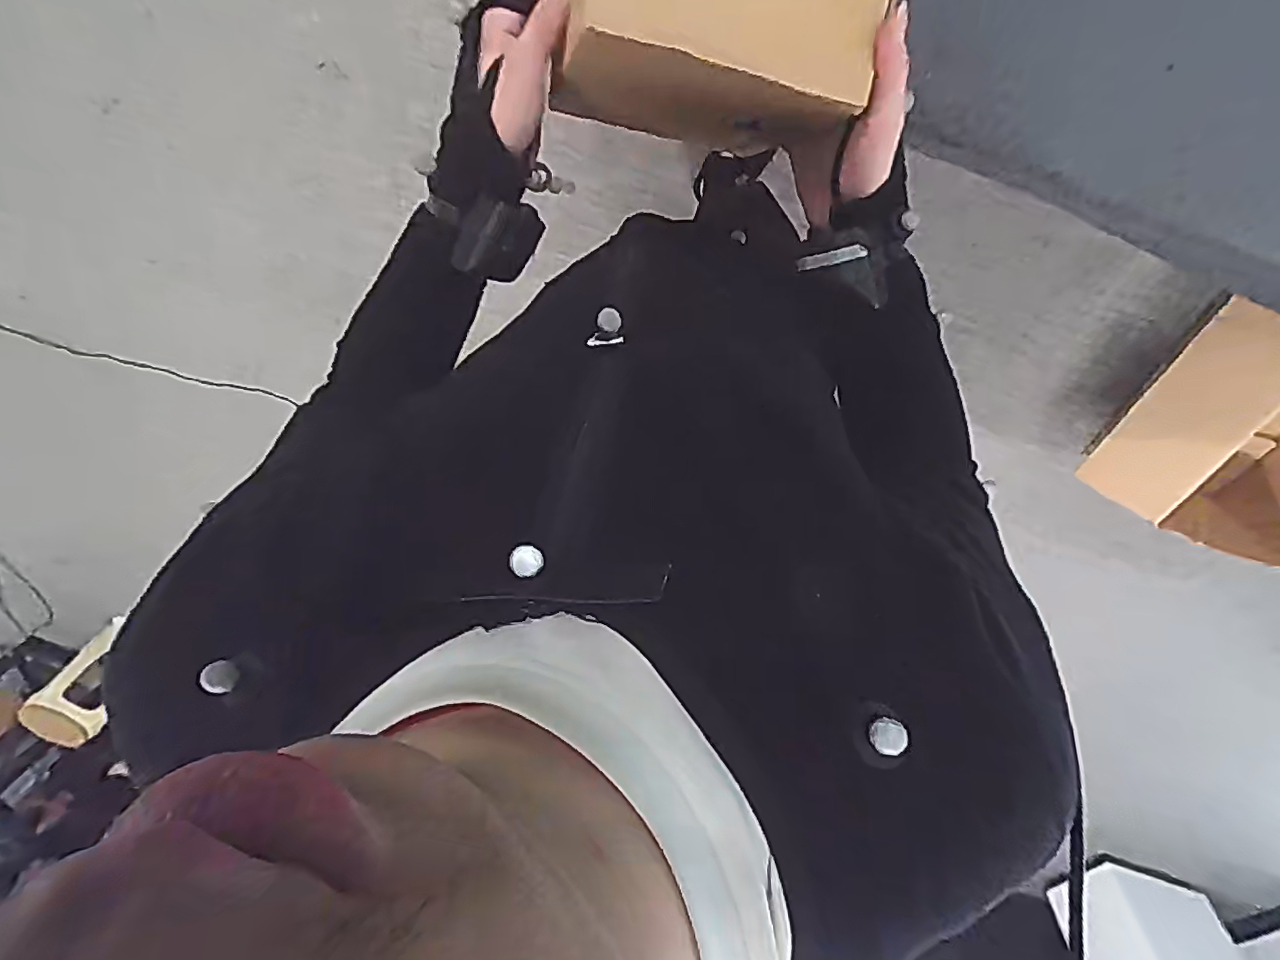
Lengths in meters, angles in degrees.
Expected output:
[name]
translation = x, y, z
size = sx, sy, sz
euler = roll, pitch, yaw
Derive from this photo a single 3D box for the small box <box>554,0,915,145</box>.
[small box]
translation = 0.050, -0.324, 0.330
size = 0.179, 0.176, 0.168
euler = 1, 110, -17
